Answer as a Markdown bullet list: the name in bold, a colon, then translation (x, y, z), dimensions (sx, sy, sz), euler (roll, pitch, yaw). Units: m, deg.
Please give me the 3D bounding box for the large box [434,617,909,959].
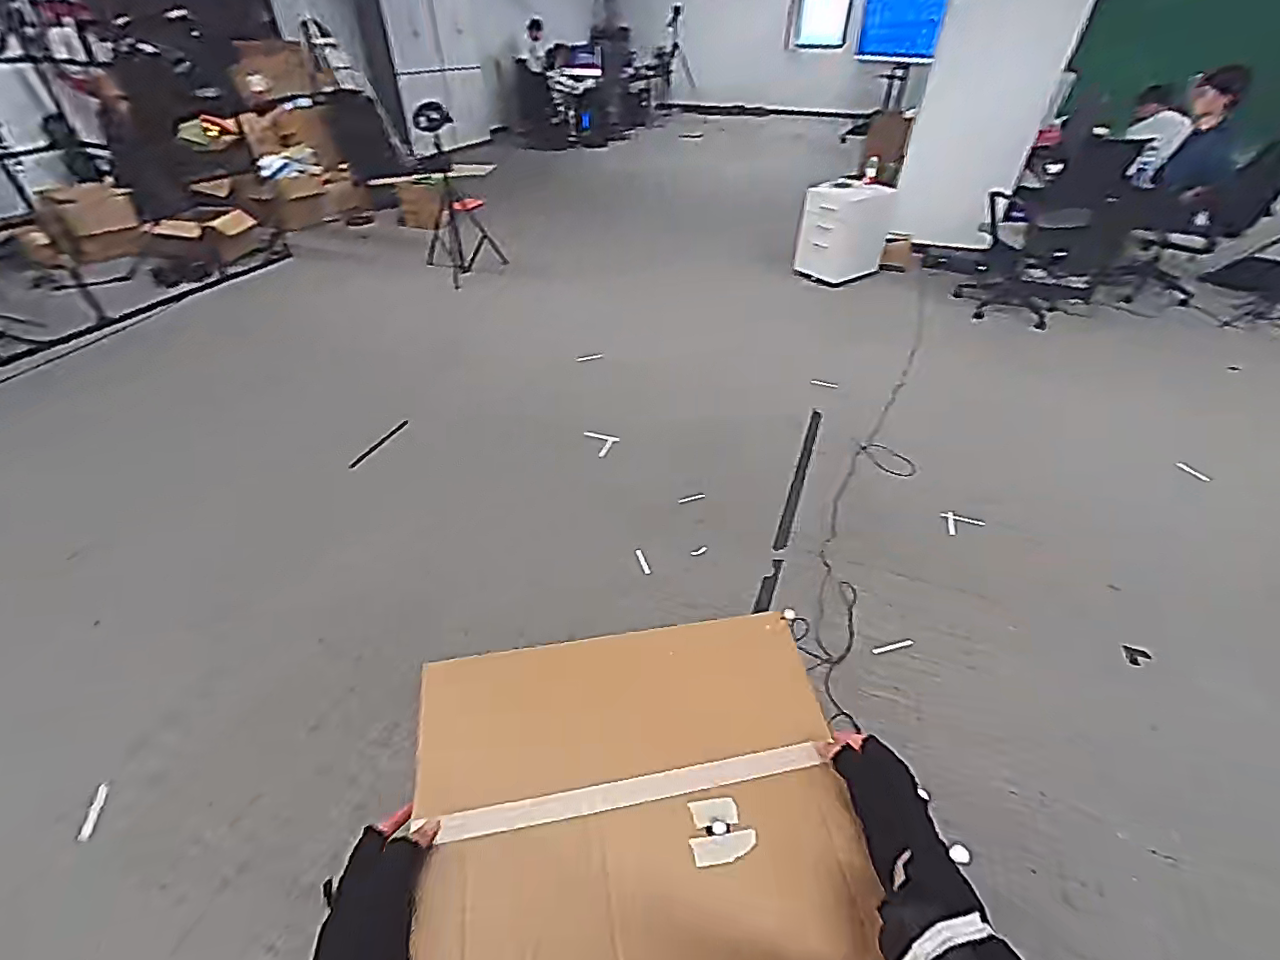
- **large box**: translation (0.004, 0.395, 0.635), dimensions (0.408, 0.320, 0.320), euler (-5, 50, -8)
